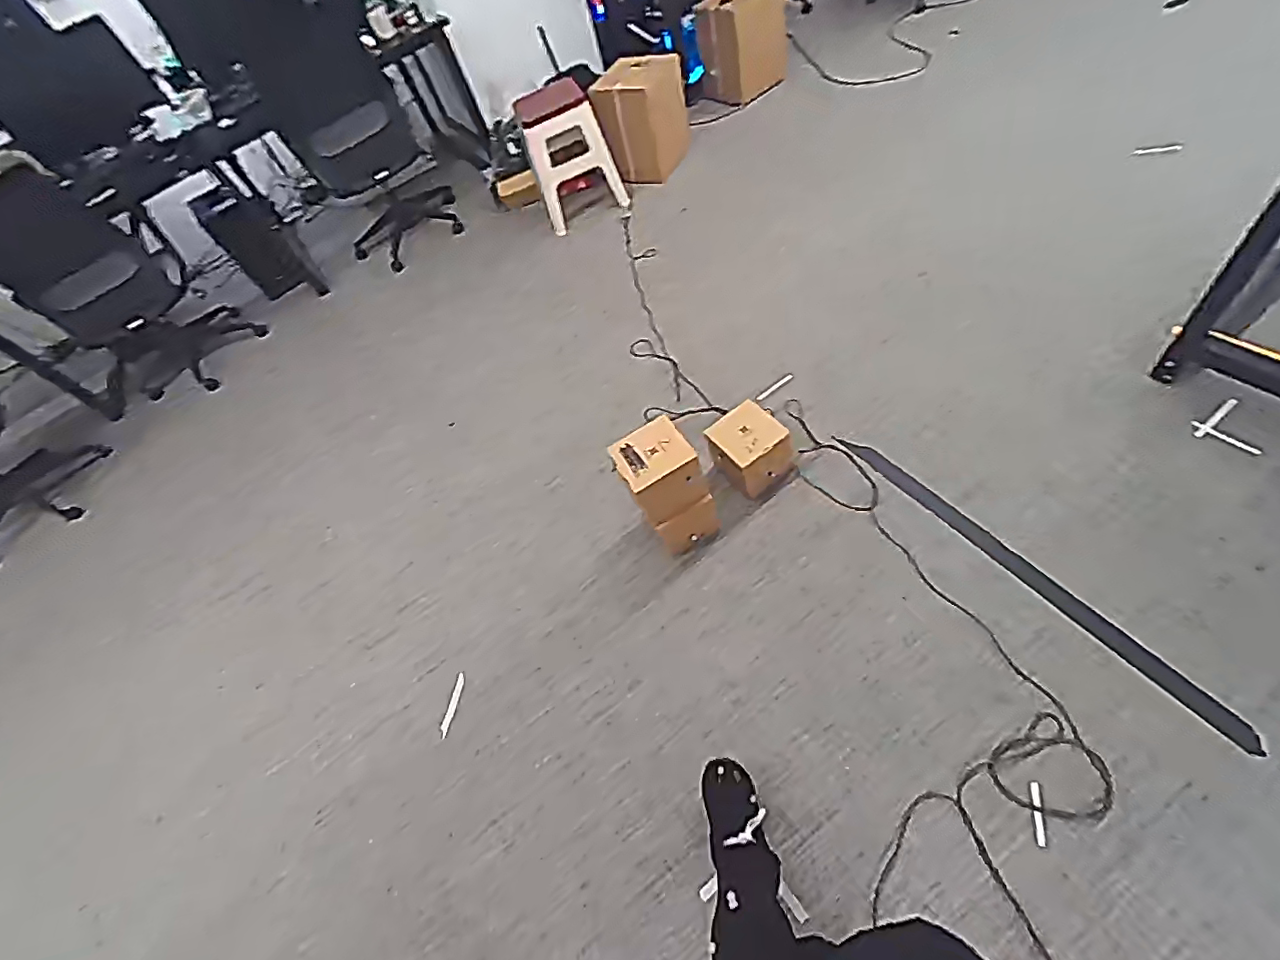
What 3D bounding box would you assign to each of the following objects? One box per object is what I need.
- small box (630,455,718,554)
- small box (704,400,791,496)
[{"bbox_3d":[0.098,0.072,1.492,0.168,0.176,0.179,-31,55,-4],"label":"small box"},{"bbox_3d":[0.307,-0.086,1.532,0.168,0.176,0.179,-36,54,-6],"label":"small box"}]
